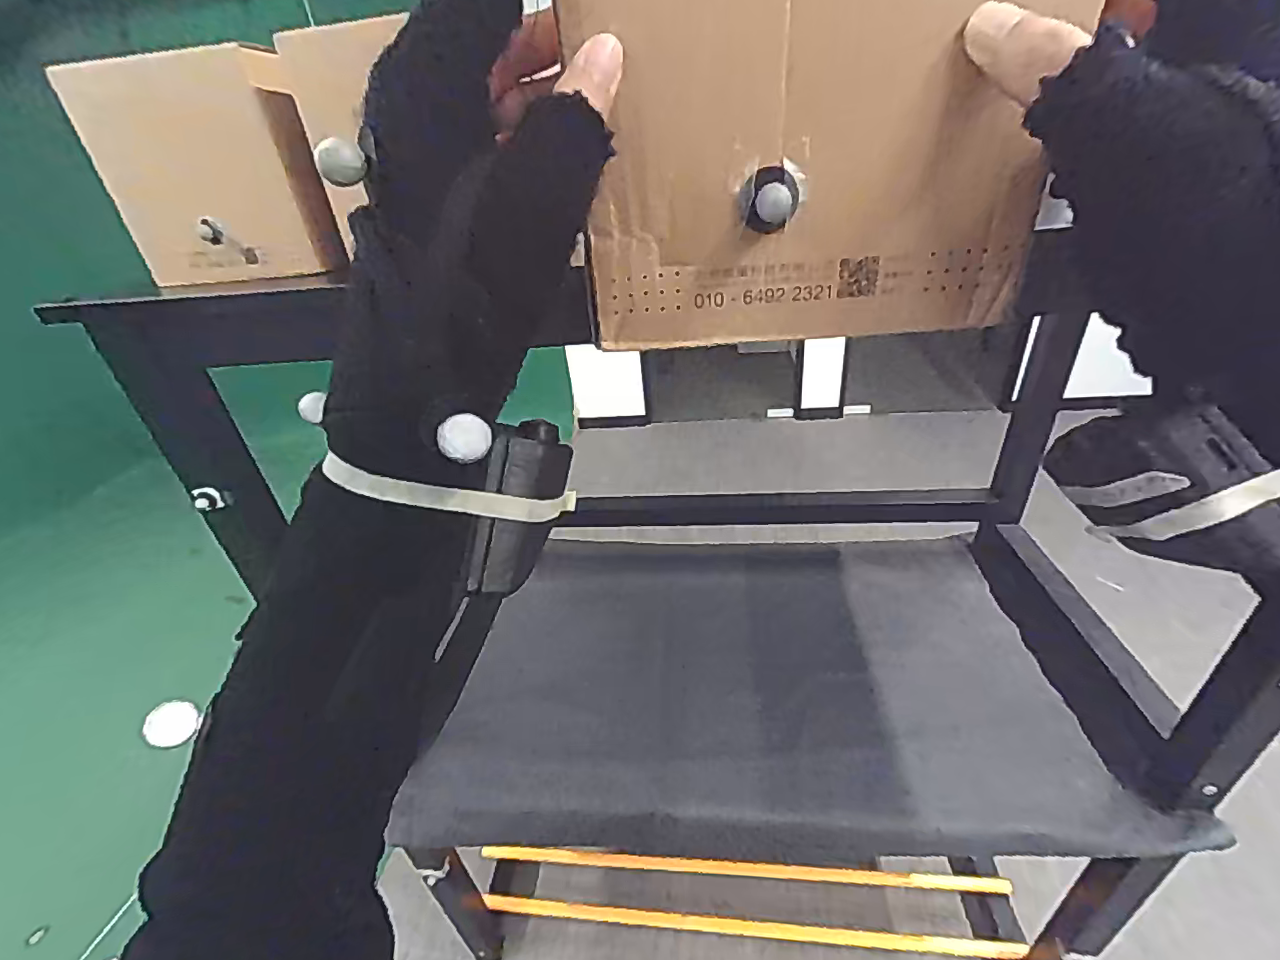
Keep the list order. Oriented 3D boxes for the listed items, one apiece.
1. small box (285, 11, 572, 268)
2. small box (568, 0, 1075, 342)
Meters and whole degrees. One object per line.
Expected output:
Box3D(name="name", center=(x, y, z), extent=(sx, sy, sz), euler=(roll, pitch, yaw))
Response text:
Box3D(name="small box", center=(-0.168, -0.298, 0.502), extent=(0.168, 0.176, 0.179), euler=(-1, 31, 9))
Box3D(name="small box", center=(0.060, -0.177, 0.257), extent=(0.168, 0.176, 0.179), euler=(-3, 36, 3))
